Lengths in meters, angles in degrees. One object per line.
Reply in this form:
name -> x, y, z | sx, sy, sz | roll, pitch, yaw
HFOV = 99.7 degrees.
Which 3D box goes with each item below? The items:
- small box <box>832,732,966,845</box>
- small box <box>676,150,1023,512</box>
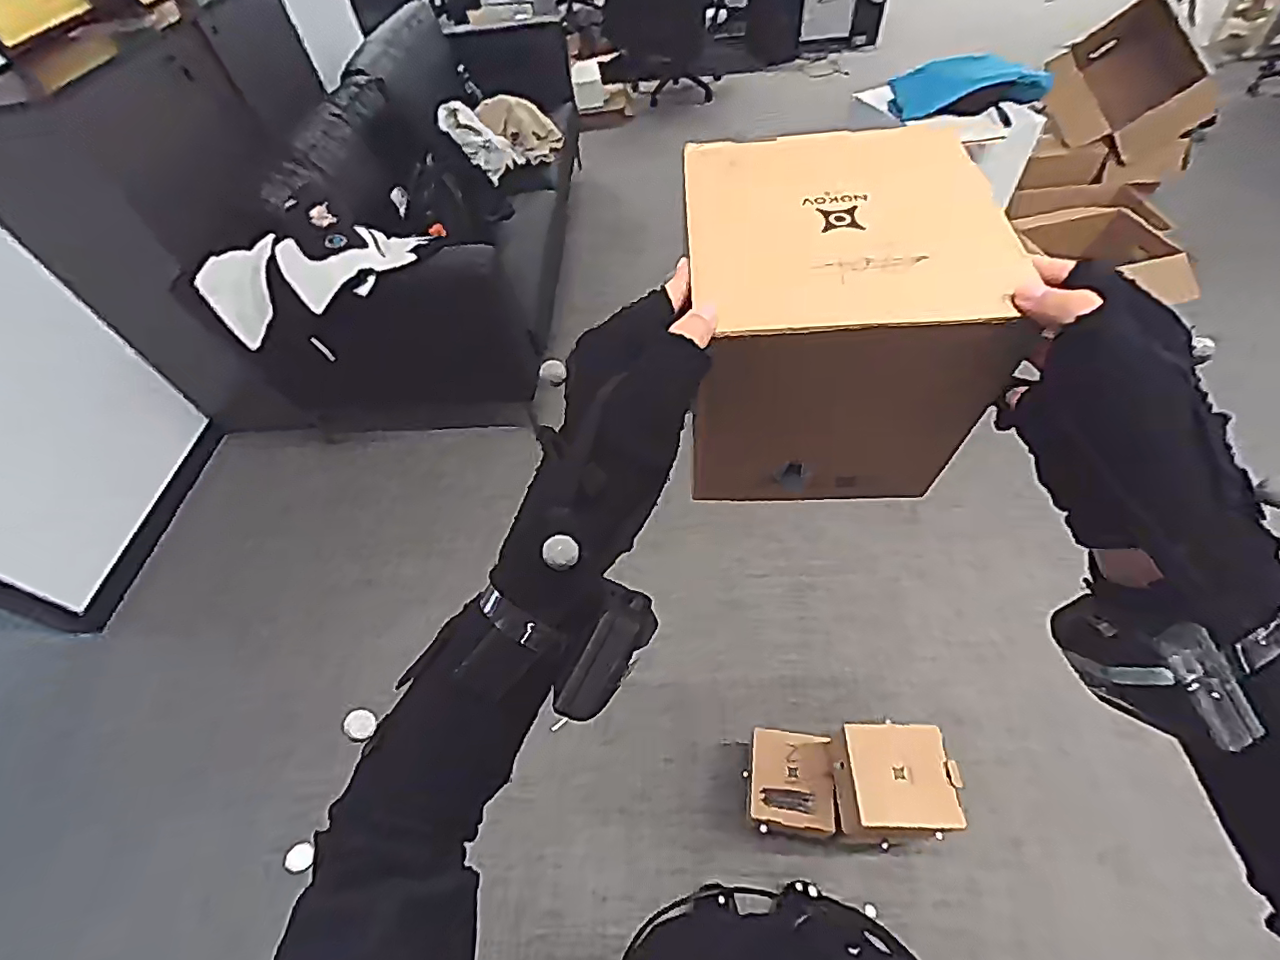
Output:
small box -> 0.473, 0.588, 1.025 | 0.179, 0.176, 0.168 | -2, 52, 5
small box -> 0.109, -0.095, 0.373 | 0.168, 0.176, 0.179 | -1, 57, 5
